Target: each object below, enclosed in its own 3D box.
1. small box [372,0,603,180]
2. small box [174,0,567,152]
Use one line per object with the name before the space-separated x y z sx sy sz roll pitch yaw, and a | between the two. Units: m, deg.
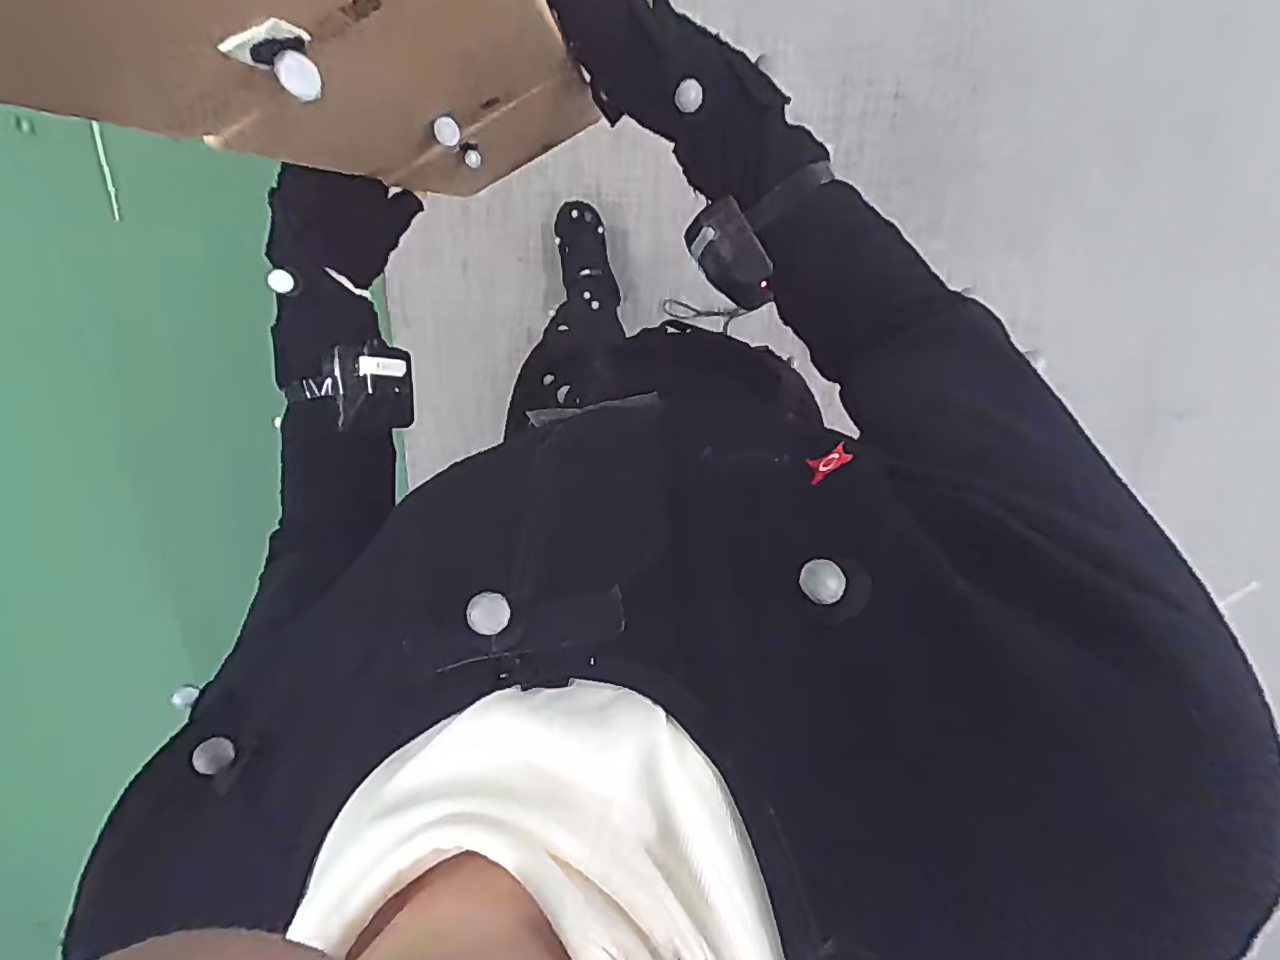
small box | -0.145 -0.366 0.427 0.168 0.176 0.179 -21 111 14
small box | -0.156 -0.301 0.275 0.168 0.176 0.179 -20 112 13
